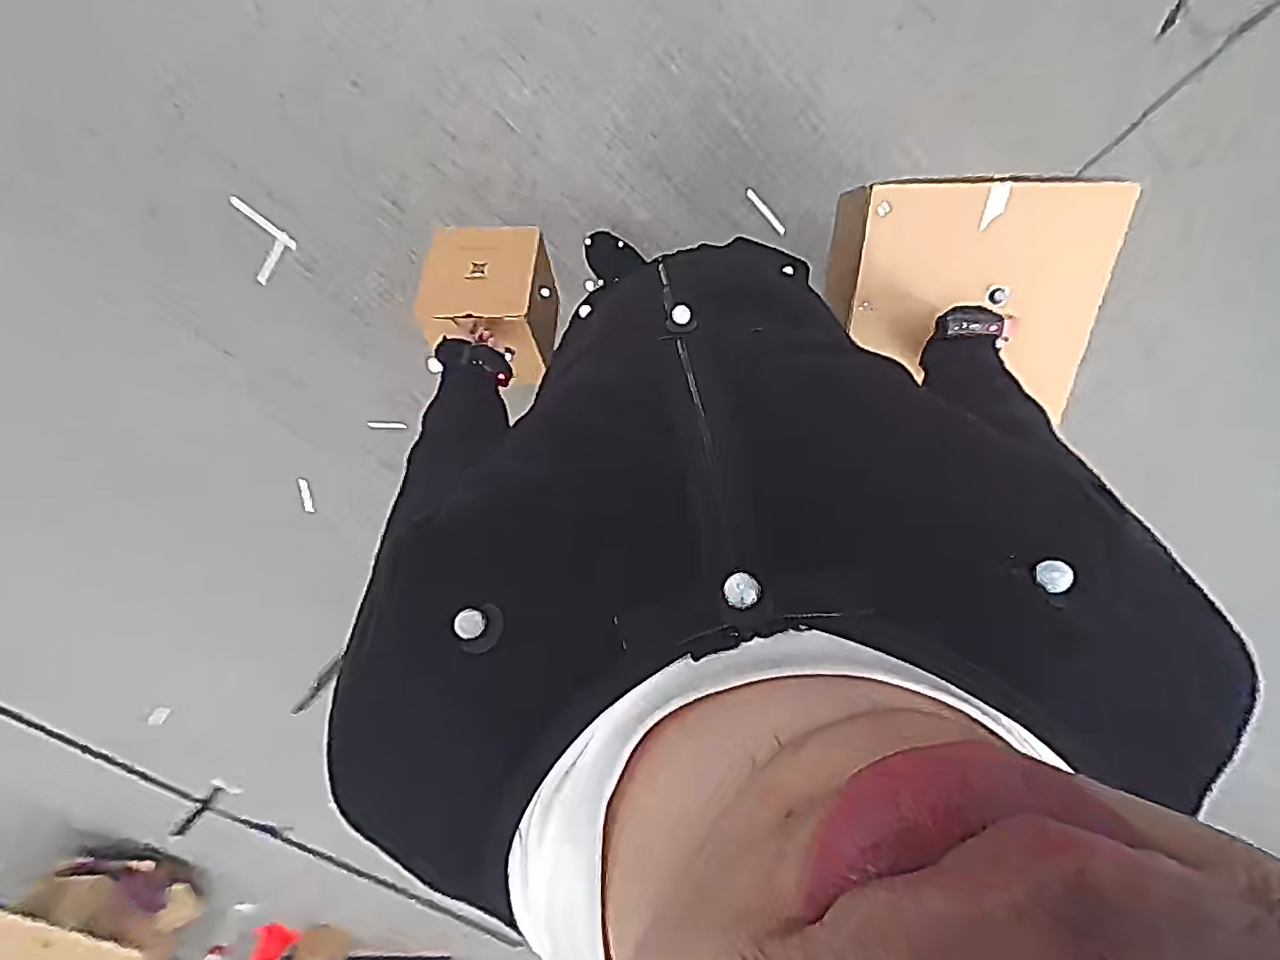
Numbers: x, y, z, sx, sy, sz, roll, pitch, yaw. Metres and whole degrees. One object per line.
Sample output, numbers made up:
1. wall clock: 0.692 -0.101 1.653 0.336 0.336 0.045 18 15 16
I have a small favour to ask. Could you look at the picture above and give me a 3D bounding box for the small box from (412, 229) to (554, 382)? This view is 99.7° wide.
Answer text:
1. small box: -0.237 -0.270 0.866 0.168 0.179 0.176 0 157 3
